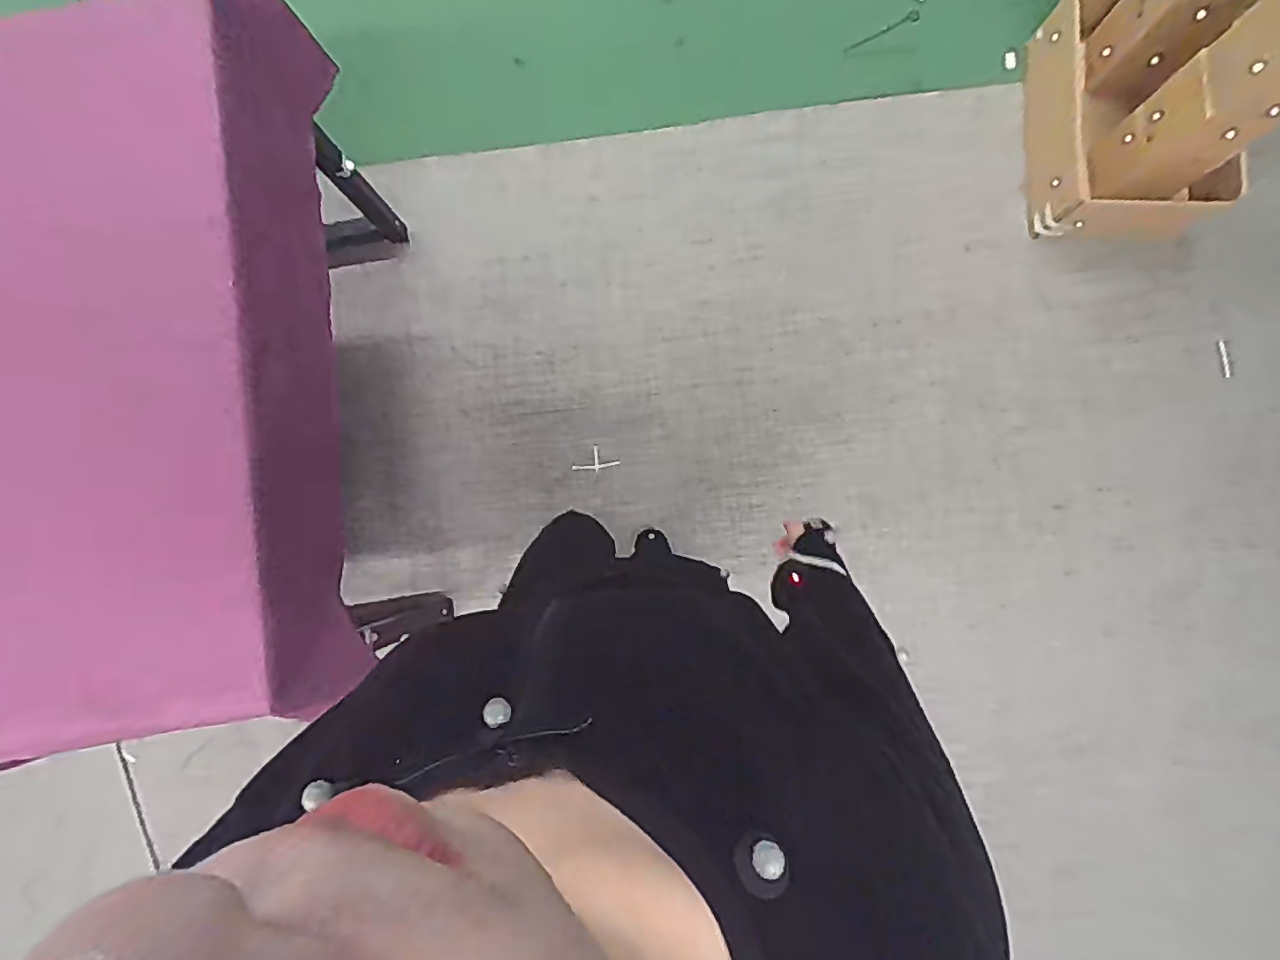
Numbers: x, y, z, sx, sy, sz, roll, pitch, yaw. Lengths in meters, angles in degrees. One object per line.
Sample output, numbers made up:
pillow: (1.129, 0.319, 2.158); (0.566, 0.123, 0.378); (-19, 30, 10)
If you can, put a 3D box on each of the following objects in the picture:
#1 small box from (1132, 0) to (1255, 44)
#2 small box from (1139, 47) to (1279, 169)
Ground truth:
small box: (1.316, -1.167, 1.265); (0.179, 0.176, 0.168); (6, 87, 5)
small box: (1.306, -0.843, 1.238); (0.179, 0.176, 0.168); (2, 85, 4)
